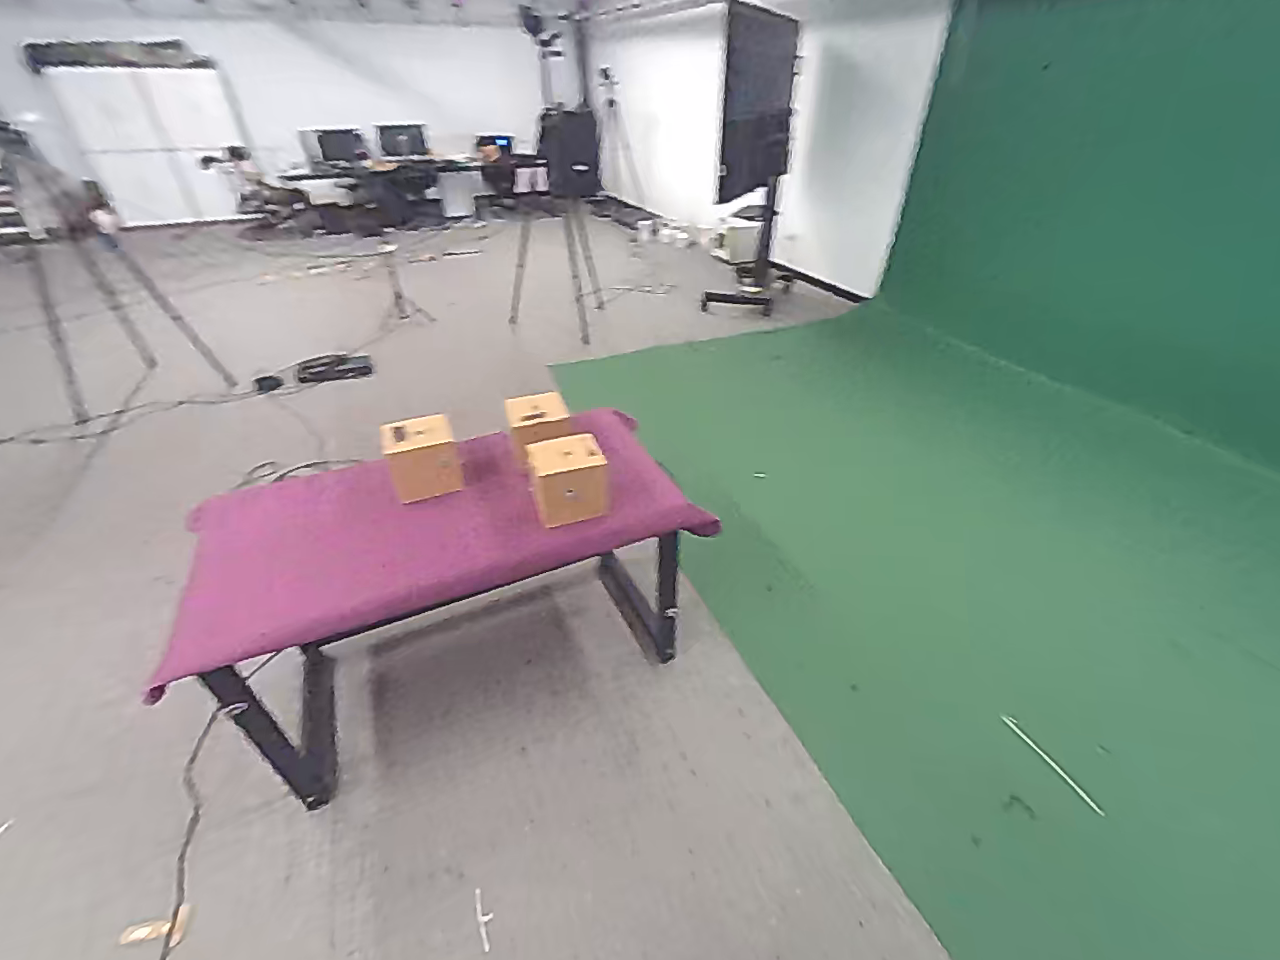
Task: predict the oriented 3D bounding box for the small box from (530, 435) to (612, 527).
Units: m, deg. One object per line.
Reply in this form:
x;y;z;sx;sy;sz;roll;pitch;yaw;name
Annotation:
-0.182;0.004;1.438;0.179;0.176;0.168;-12;37;-15;small box

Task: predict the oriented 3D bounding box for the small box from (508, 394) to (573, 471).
-0.297;-0.139;1.638;0.168;0.176;0.179;-11;37;-14;small box
